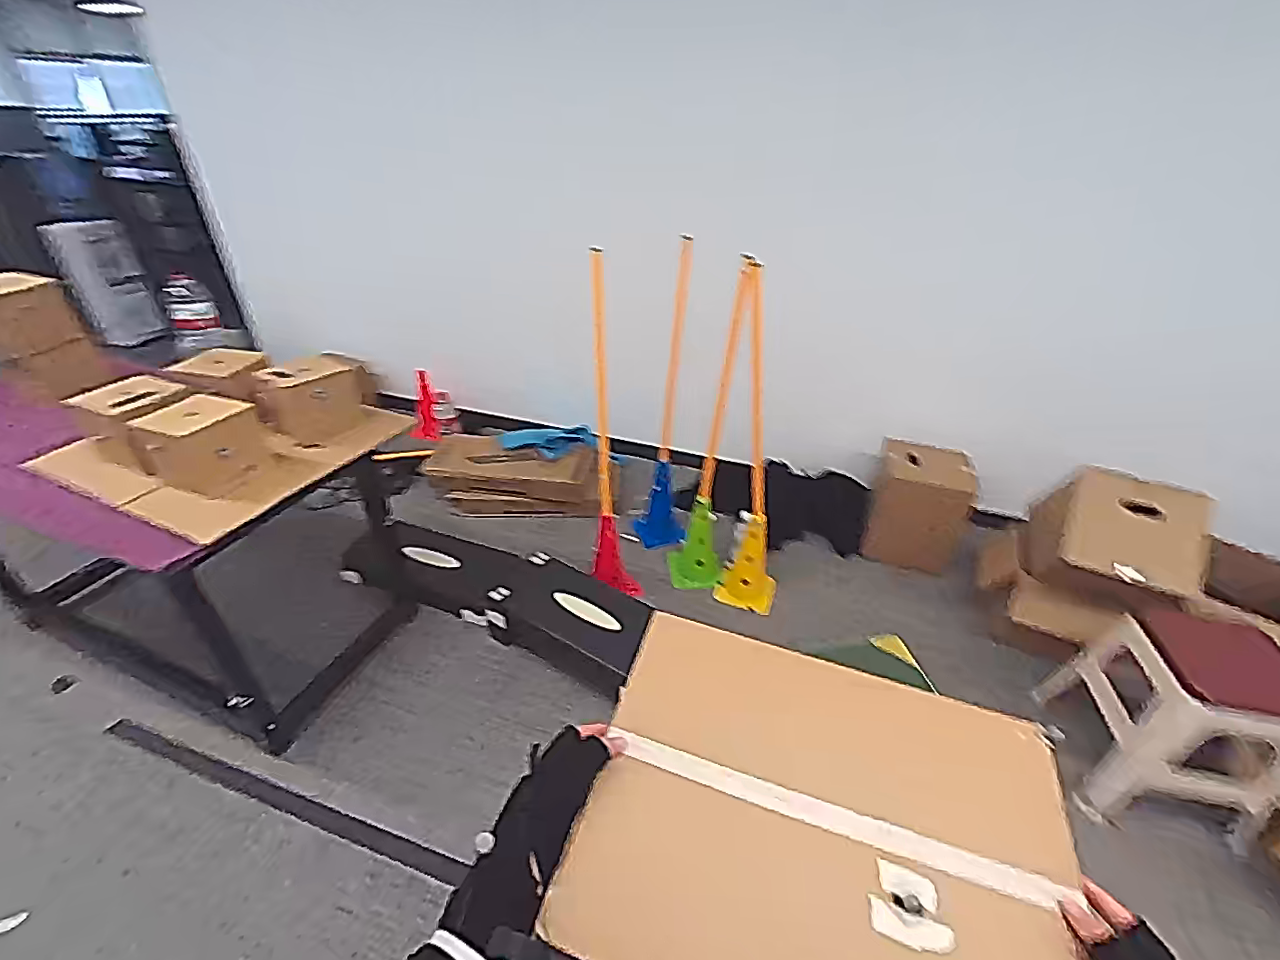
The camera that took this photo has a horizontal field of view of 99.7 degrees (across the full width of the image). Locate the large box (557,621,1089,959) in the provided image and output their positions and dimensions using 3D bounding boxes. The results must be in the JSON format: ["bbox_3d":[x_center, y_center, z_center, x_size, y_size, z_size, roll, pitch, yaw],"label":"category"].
[{"bbox_3d":[0.159,0.413,0.578,0.408,0.320,0.320,14,42,13],"label":"large box"}]
